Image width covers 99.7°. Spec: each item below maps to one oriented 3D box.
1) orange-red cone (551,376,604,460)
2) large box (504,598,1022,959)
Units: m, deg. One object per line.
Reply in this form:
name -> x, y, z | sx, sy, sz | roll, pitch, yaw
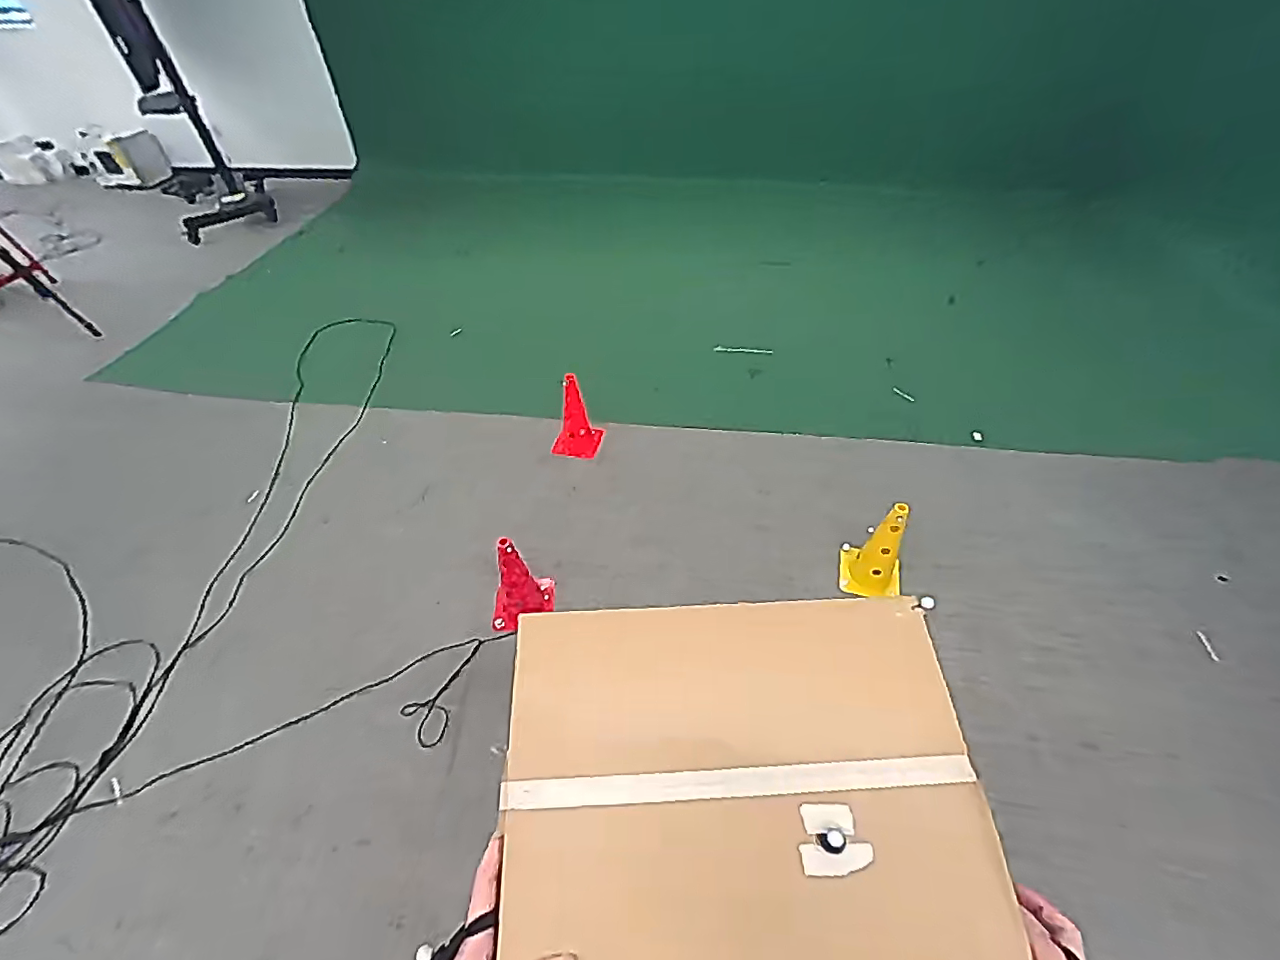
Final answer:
orange-red cone -> -0.284, -0.285, 2.294 | 0.199, 0.360, 0.198 | 9, 46, 12
large box -> 0.084, 0.340, 0.603 | 0.408, 0.320, 0.320 | -2, 60, -2
